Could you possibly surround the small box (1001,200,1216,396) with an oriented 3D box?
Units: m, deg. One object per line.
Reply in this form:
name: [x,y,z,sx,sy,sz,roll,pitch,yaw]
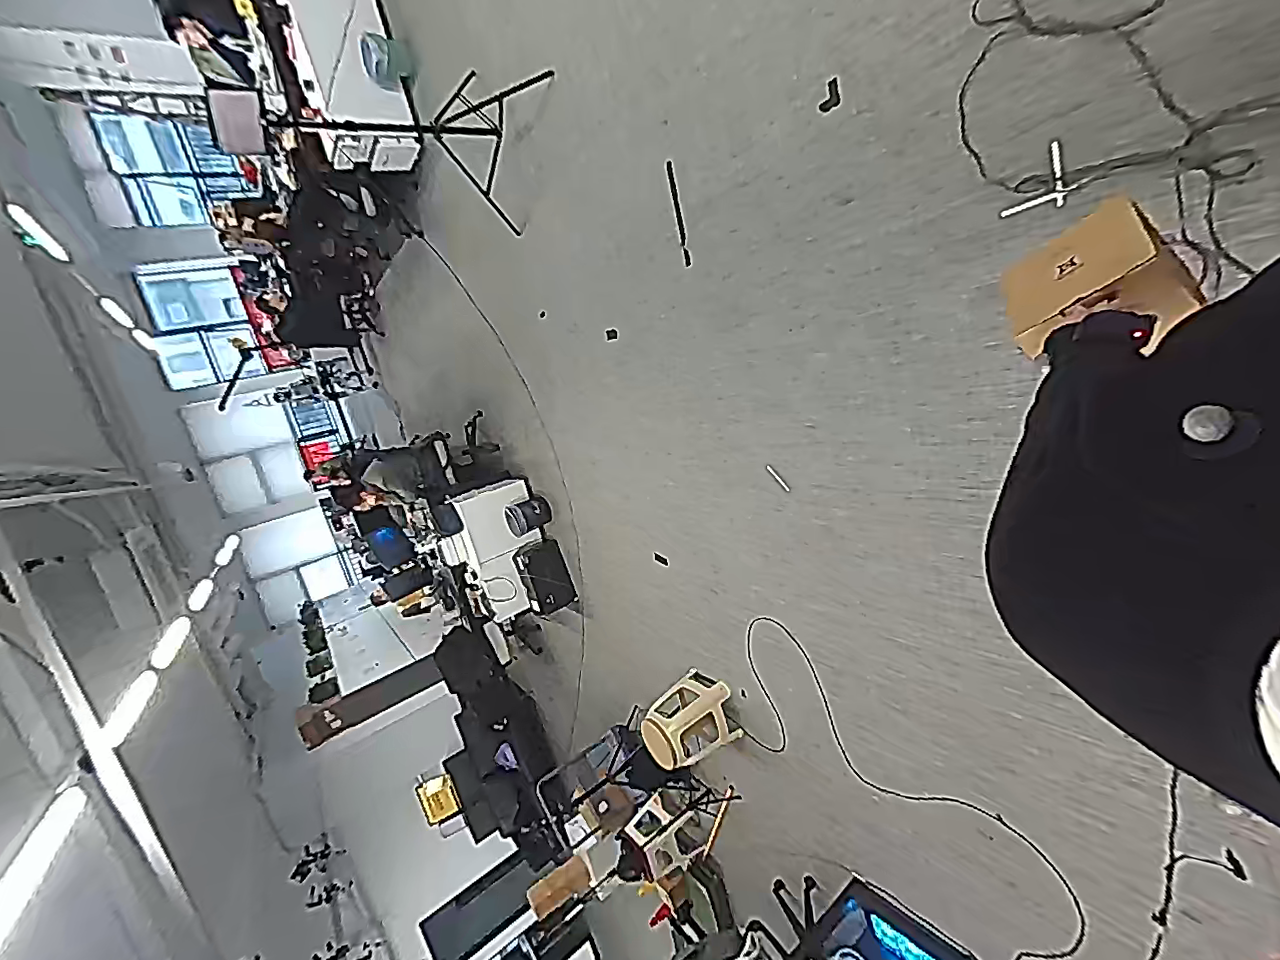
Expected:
small box: [0.651,-0.244,0.765,0.176,0.179,0.168,36,142,-15]
